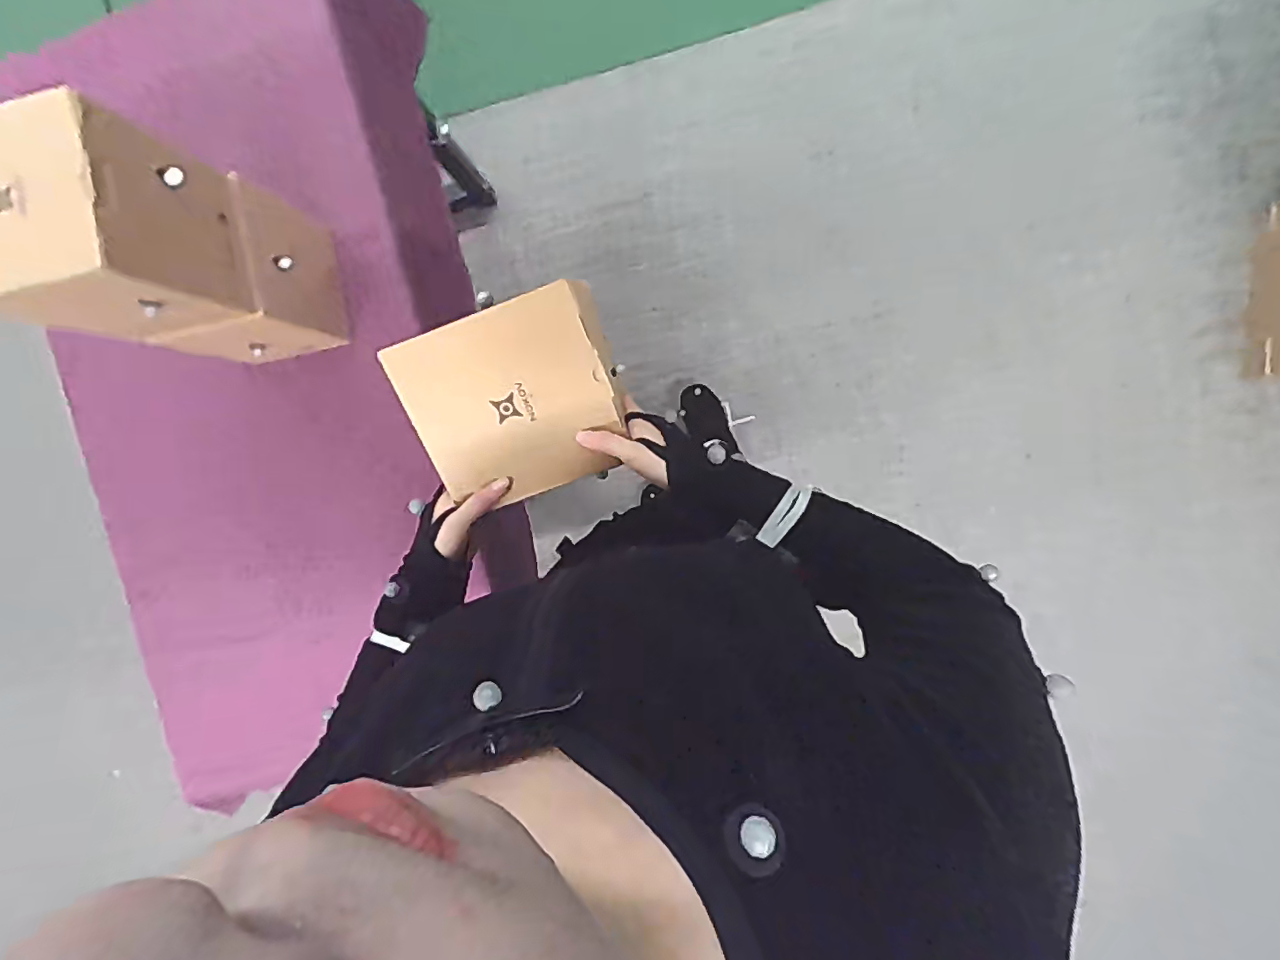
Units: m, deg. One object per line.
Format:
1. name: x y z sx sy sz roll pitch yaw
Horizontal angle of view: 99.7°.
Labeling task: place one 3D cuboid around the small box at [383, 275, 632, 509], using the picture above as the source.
1. small box: -0.113 -0.094 0.549 0.179 0.176 0.168 -19 108 5
